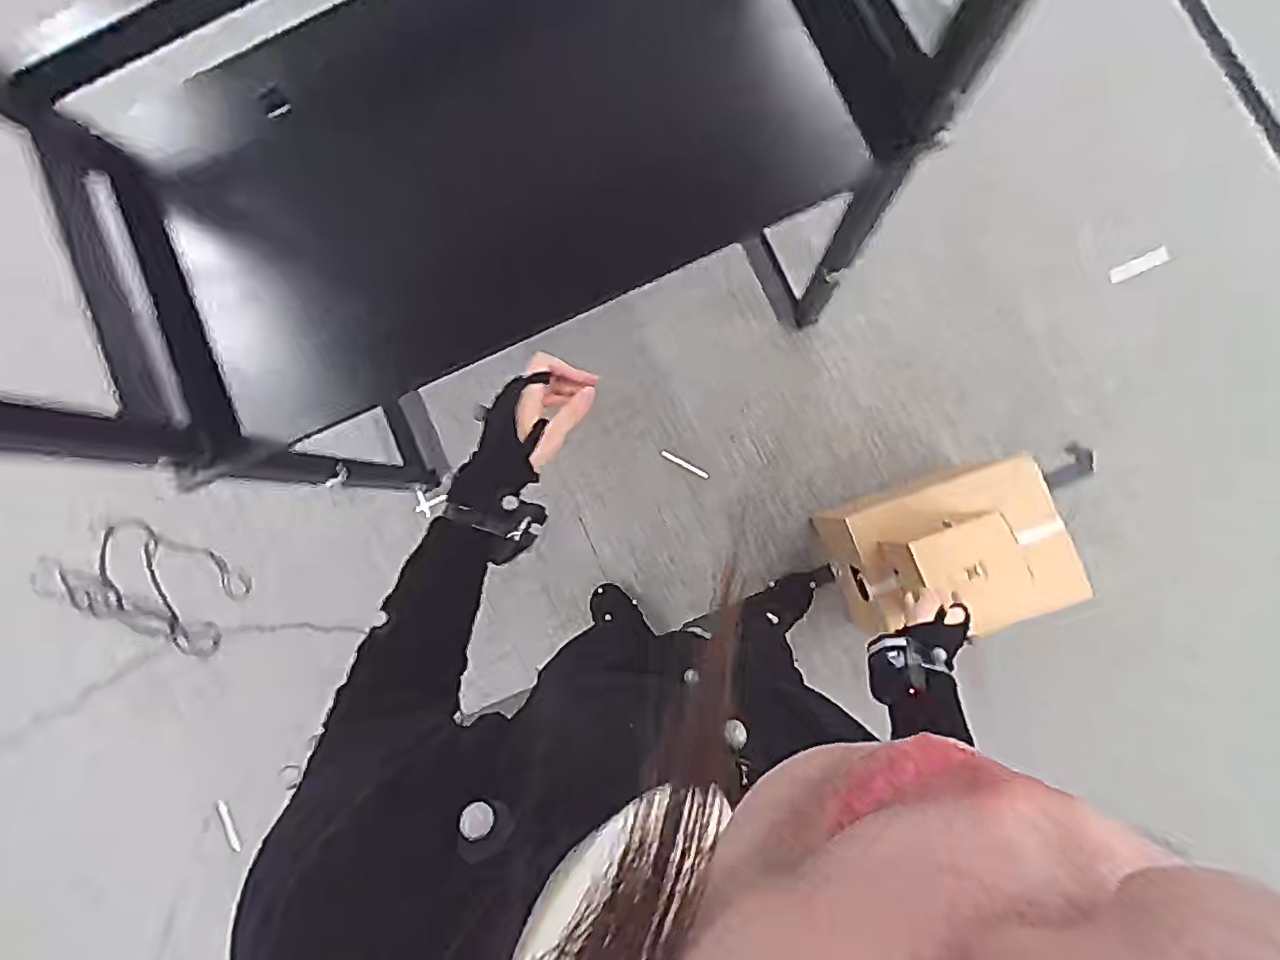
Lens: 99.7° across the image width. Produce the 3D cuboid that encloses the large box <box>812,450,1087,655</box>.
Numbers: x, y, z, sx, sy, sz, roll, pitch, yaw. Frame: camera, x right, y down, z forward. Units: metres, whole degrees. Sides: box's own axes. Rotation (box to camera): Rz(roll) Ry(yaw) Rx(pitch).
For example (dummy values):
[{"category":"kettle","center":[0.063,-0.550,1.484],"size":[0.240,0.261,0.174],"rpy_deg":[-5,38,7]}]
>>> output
[{"category":"large box","center":[0.673,0.158,1.253],"size":[0.408,0.320,0.320],"rpy_deg":[-20,86,3]}]

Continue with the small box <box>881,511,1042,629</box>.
[{"category":"small box","center":[0.588,0.160,1.014],"size":[0.179,0.176,0.168],"rpy_deg":[-20,84,4]}]
